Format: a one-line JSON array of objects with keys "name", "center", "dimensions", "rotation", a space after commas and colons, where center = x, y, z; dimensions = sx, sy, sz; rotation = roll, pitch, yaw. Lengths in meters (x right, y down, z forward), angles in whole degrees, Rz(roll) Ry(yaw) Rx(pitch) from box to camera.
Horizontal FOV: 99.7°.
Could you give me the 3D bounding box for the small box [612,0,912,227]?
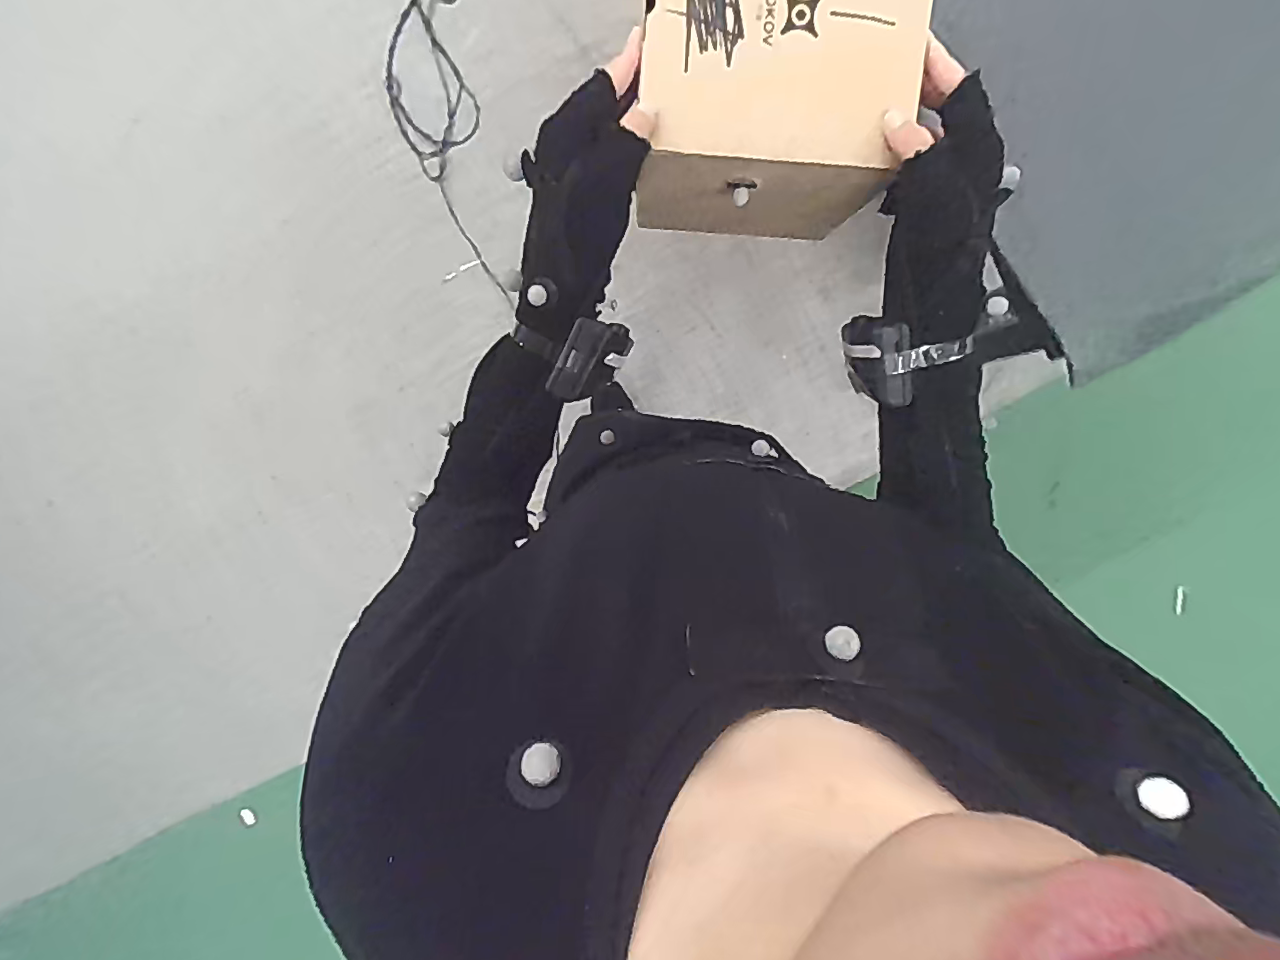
[{"name": "small box", "center": [0.075, -0.298, 0.399], "dimensions": [0.179, 0.176, 0.168], "rotation": [3, 100, 0]}]
